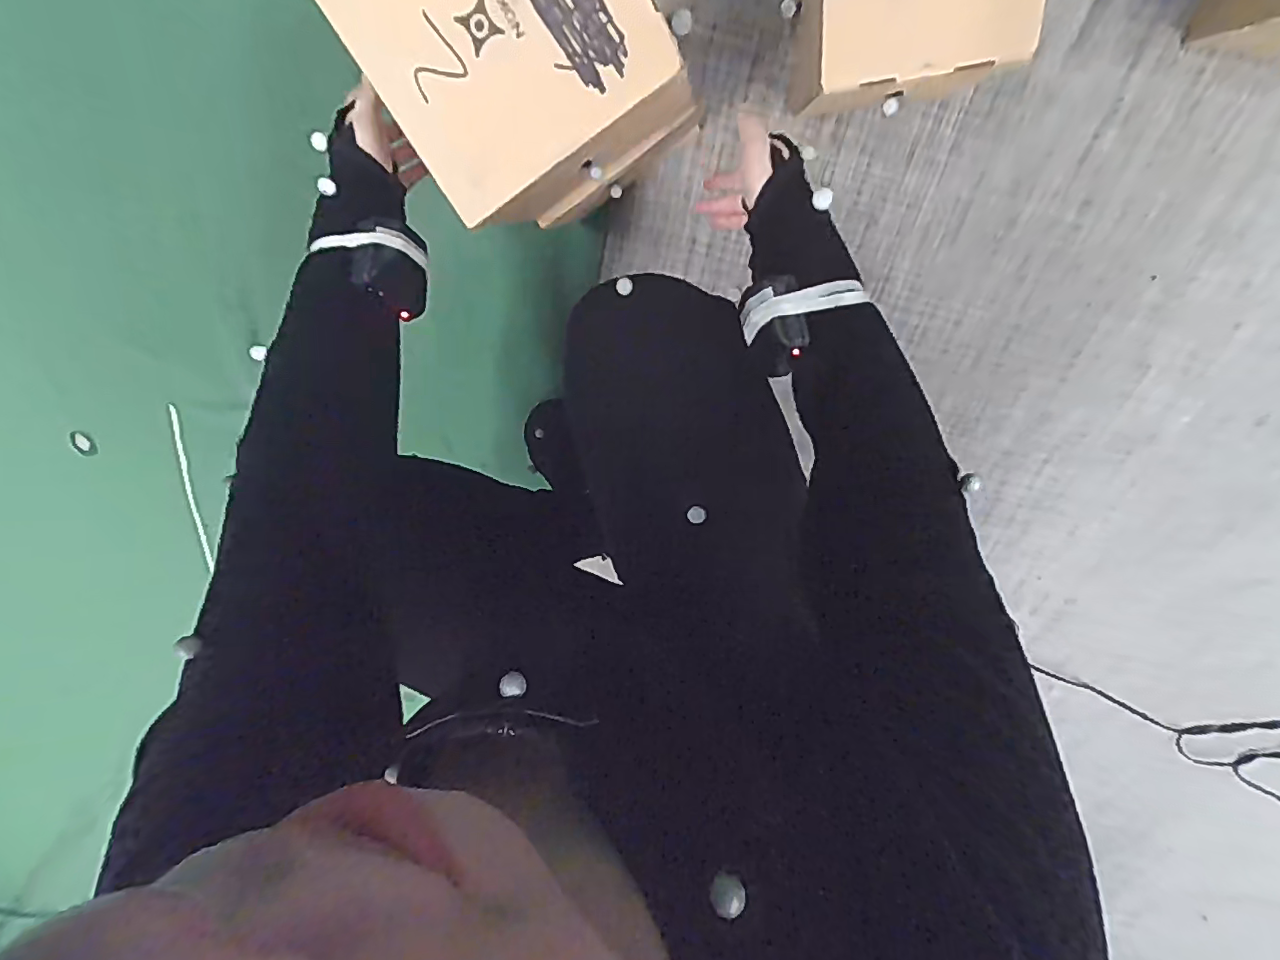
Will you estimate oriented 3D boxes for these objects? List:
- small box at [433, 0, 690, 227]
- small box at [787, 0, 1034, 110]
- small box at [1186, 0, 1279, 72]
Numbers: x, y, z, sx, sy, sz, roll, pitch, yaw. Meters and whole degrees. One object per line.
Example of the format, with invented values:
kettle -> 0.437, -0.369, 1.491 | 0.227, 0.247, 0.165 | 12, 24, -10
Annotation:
small box -> -0.060, -0.379, 0.541 | 0.179, 0.176, 0.168 | -28, 112, 19
small box -> 0.225, -0.439, 0.474 | 0.168, 0.176, 0.179 | -3, 119, 8
small box -> 0.621, -0.440, 0.424 | 0.179, 0.176, 0.168 | 11, 118, 0
